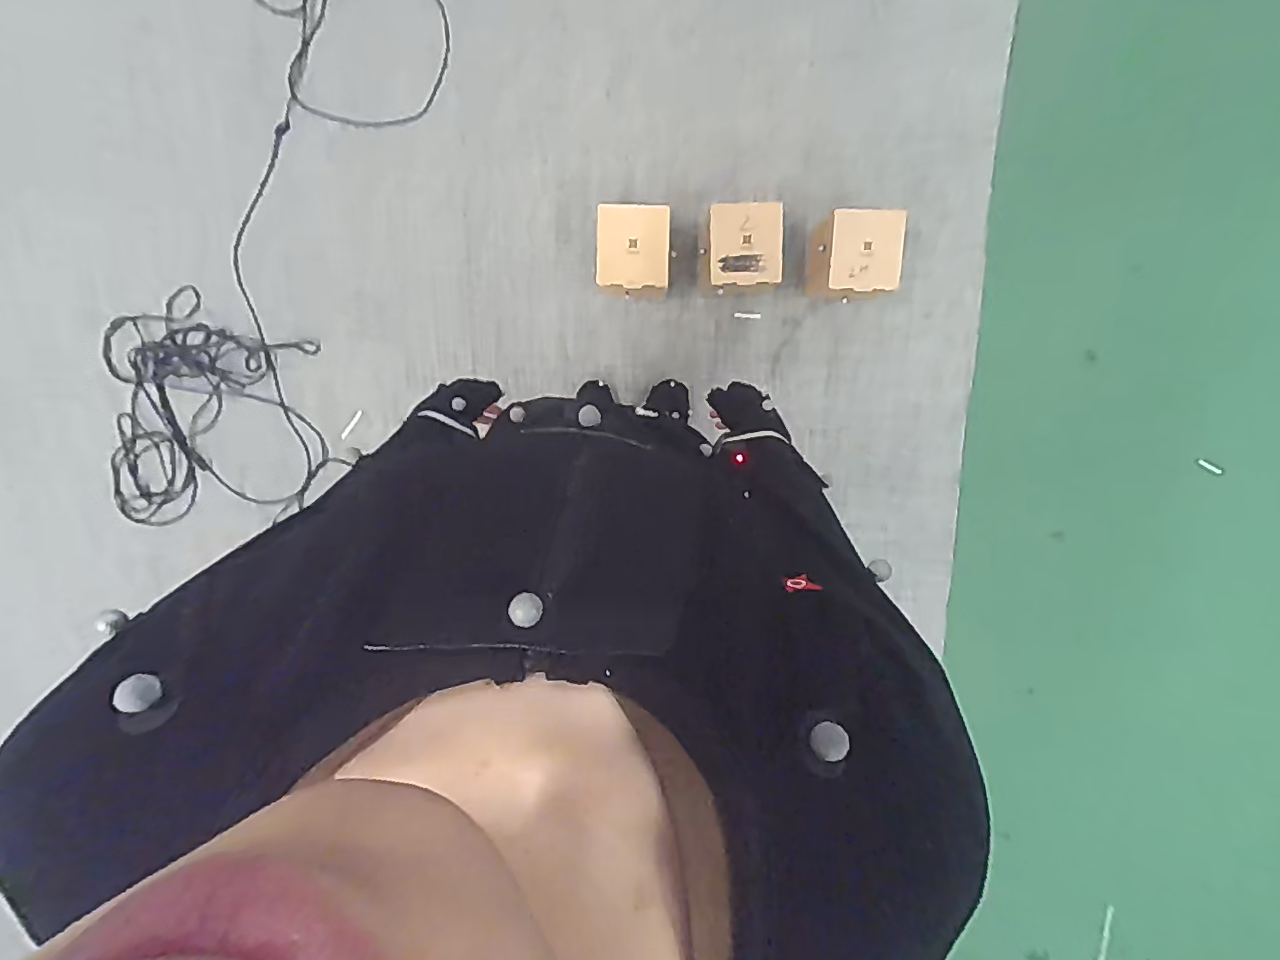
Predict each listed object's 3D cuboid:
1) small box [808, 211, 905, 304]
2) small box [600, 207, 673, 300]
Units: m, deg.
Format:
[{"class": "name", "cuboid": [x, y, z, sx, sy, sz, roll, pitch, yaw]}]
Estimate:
[{"class": "small box", "cuboid": [0.520, -0.536, 1.321, 0.168, 0.176, 0.179, 1, 101, 0]}, {"class": "small box", "cuboid": [-0.010, -0.543, 1.314, 0.168, 0.176, 0.179, 1, 101, 0]}]
